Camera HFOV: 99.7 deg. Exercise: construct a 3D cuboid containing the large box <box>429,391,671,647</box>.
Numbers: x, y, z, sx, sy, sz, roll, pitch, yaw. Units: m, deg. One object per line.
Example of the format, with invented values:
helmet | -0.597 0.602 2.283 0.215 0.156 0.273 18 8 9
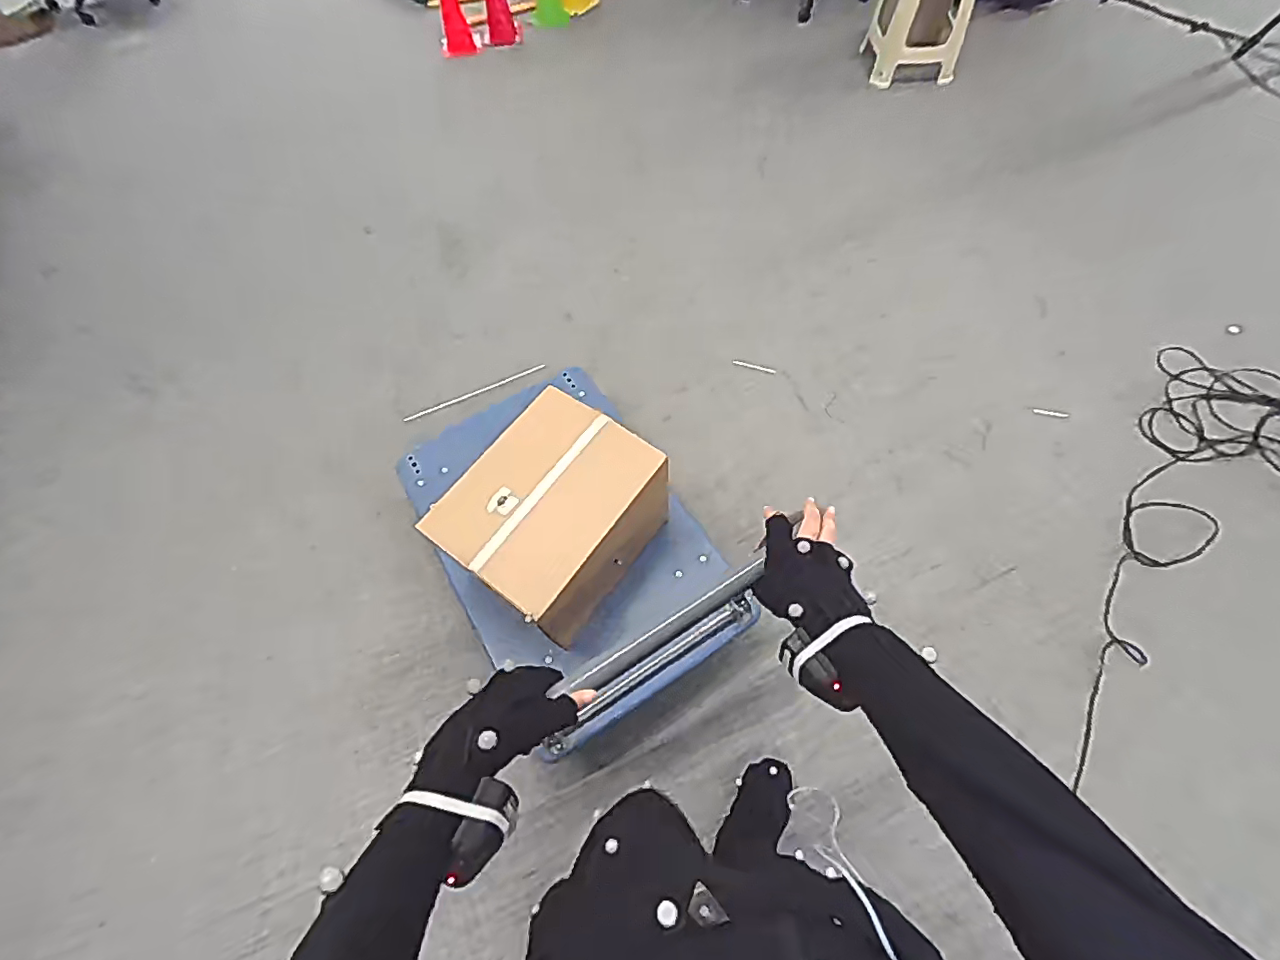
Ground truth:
large box | -0.164 0.093 1.191 0.320 0.320 0.408 32 70 18
